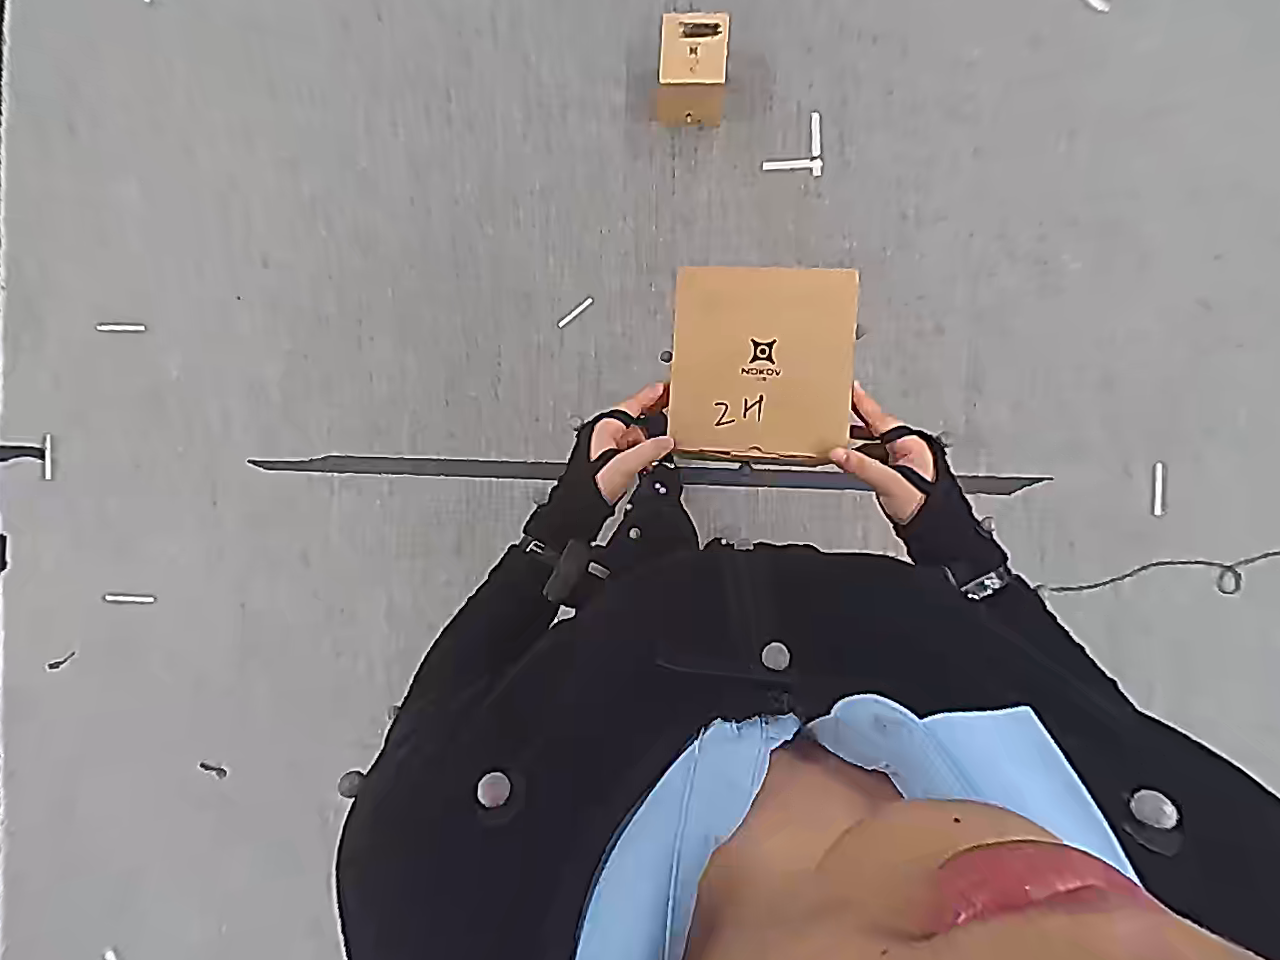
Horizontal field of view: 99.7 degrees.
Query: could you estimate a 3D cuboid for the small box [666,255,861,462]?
[{"bbox_3d":[0.121,-0.115,0.569,0.168,0.176,0.179,4,90,8],"label":"small box"}]
